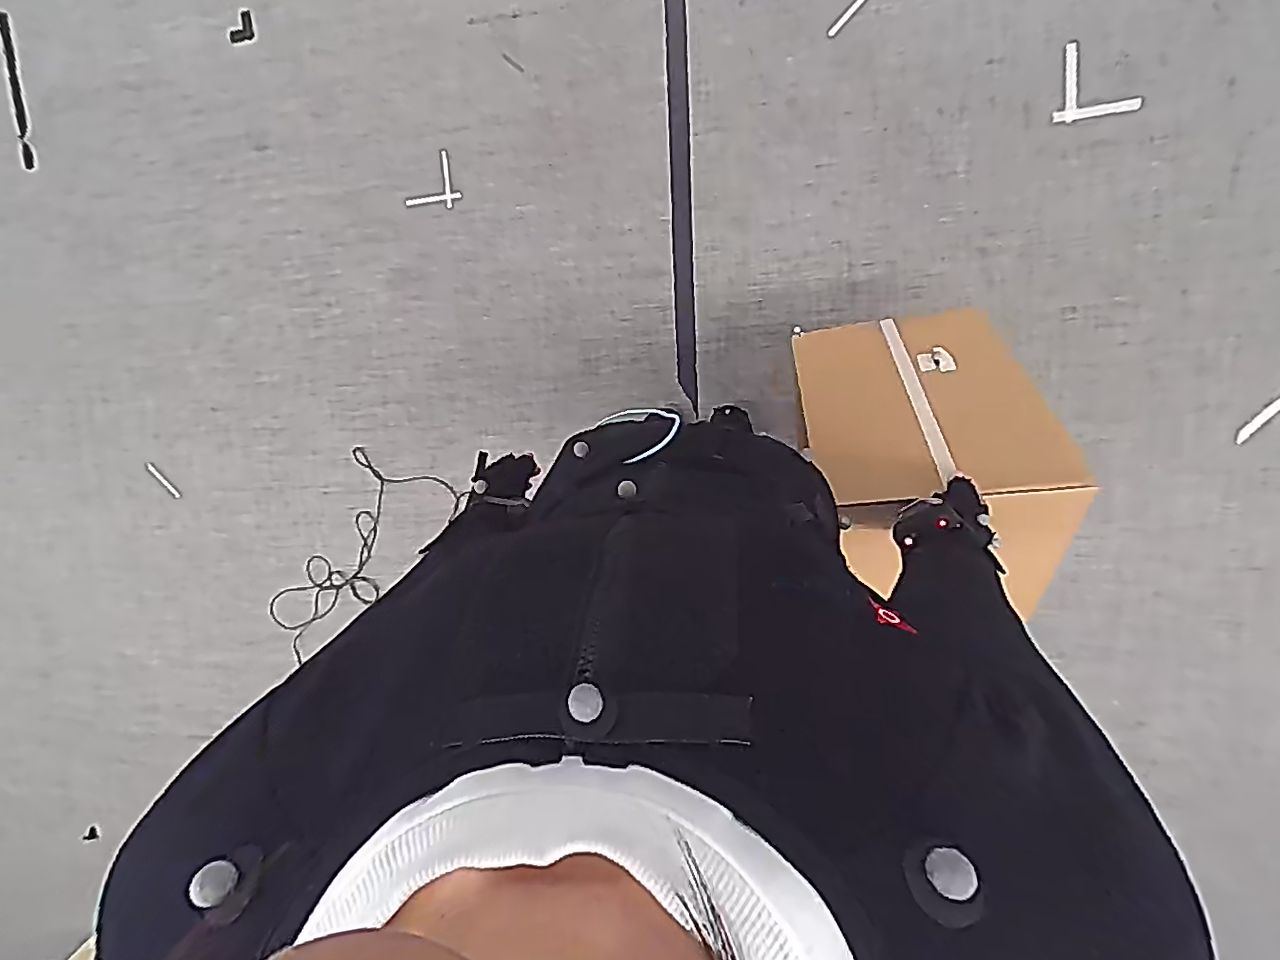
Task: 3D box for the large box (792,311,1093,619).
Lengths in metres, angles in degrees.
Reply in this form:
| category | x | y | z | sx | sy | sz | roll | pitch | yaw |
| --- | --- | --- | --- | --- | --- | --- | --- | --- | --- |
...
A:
| category | x | y | z | sx | sy | sz | roll | pitch | yaw |
| --- | --- | --- | --- | --- | --- | --- | --- | --- | --- |
| large box | 0.442 | -0.024 | 0.909 | 0.320 | 0.408 | 0.320 | -5 | 135 | 12 |
